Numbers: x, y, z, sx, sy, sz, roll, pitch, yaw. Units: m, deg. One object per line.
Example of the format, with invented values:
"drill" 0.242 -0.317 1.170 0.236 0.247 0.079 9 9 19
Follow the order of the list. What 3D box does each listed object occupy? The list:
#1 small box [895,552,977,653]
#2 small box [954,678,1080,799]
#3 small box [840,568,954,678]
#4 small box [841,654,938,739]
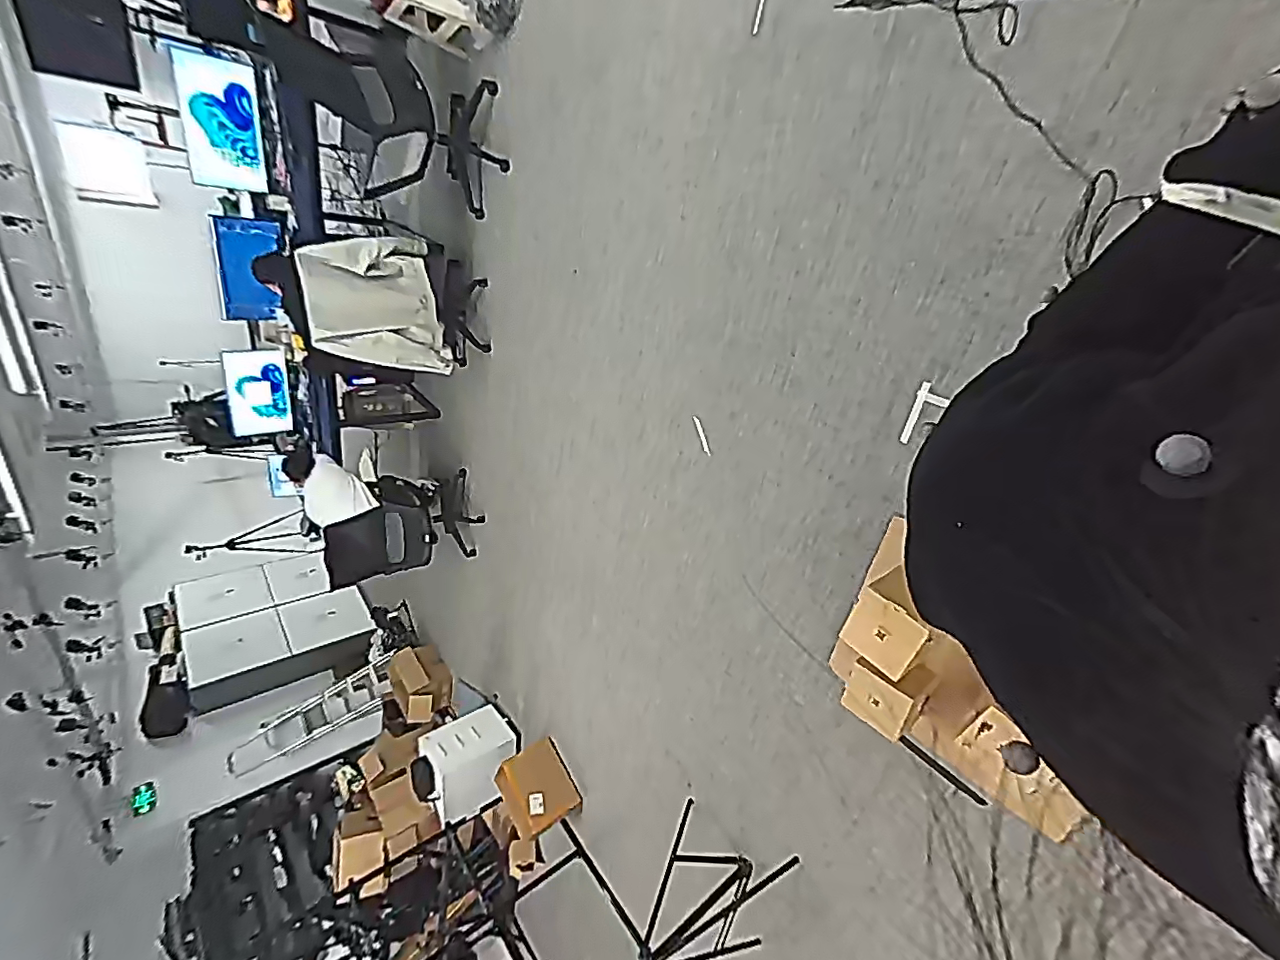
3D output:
"small box" 0.760 0.319 1.440 0.168 0.176 0.179 35 125 38
"small box" 0.926 0.626 1.326 0.179 0.176 0.168 43 130 32
"small box" 0.637 0.346 1.337 0.168 0.176 0.179 39 127 36
"small box" 0.722 0.599 1.566 0.179 0.176 0.168 30 124 42
